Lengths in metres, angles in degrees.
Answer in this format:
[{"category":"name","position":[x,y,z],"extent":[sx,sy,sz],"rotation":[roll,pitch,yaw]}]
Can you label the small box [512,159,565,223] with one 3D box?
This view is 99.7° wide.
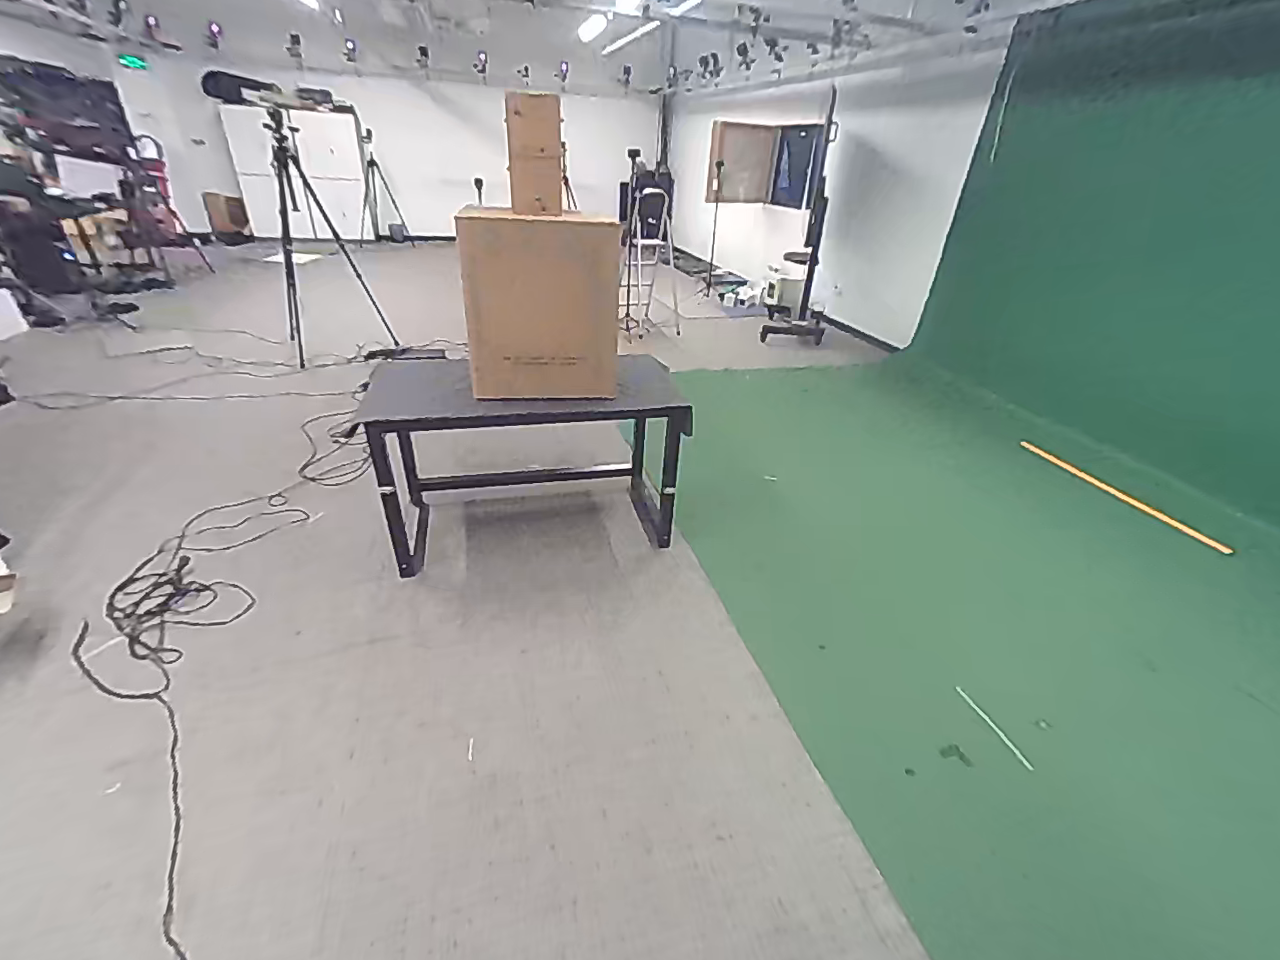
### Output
[{"category":"small box","position":[-0.340,-0.976,1.824],"extent":[0.168,0.176,0.179],"rotation":[-1,33,-9]}]
